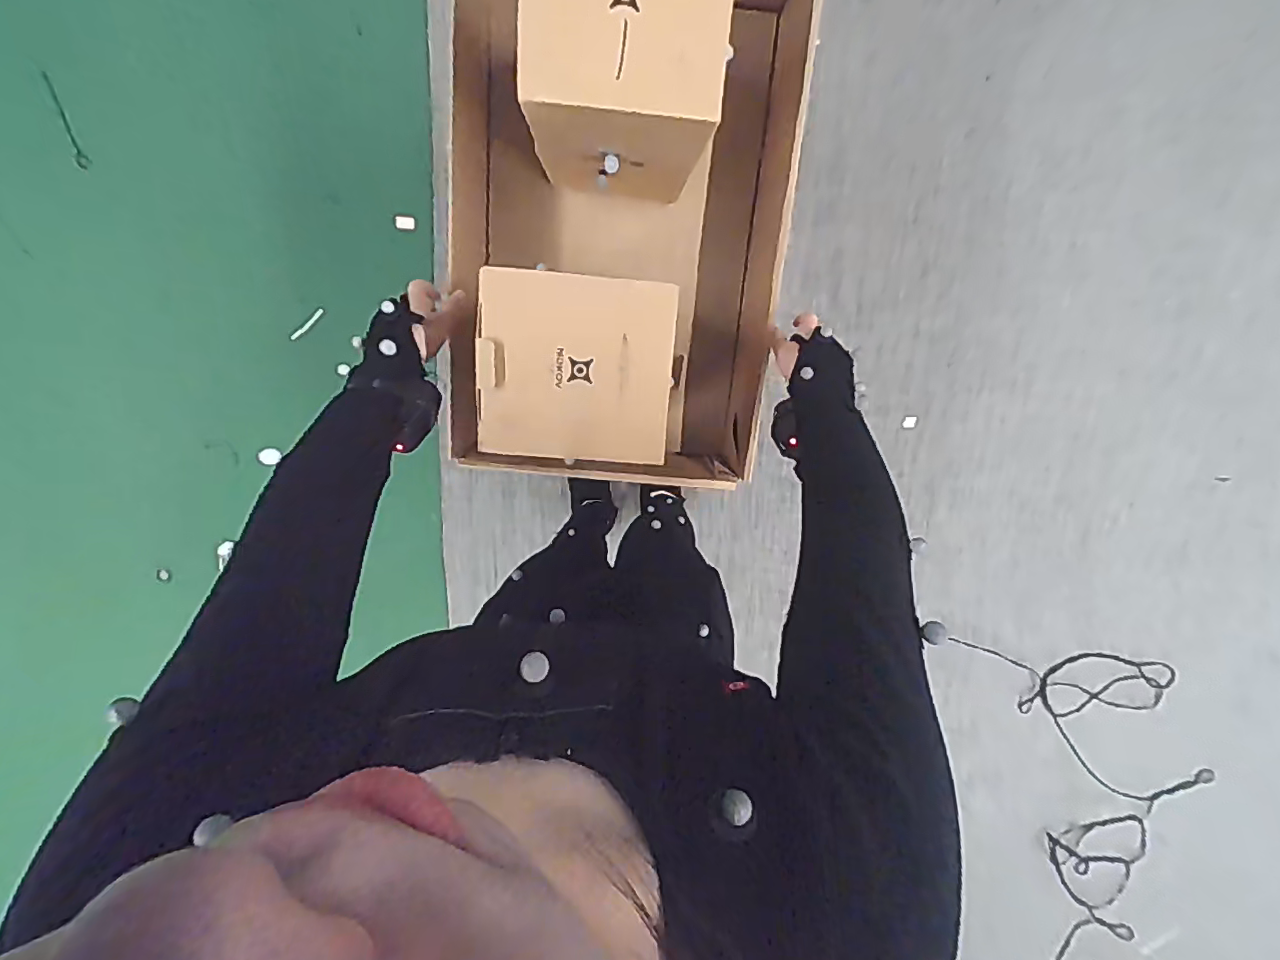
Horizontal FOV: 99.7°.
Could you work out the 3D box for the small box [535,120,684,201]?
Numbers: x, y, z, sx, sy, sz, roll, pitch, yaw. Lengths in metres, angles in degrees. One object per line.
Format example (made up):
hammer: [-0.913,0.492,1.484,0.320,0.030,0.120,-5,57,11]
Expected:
small box: [-0.022,-0.448,0.649,0.179,0.176,0.168,6,106,-4]

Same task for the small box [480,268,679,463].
small box: [-0.062,-0.121,0.571,0.179,0.176,0.168,3,106,-5]

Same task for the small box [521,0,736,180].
small box: [-0.011,-0.399,0.493,0.168,0.176,0.179,4,106,-4]
